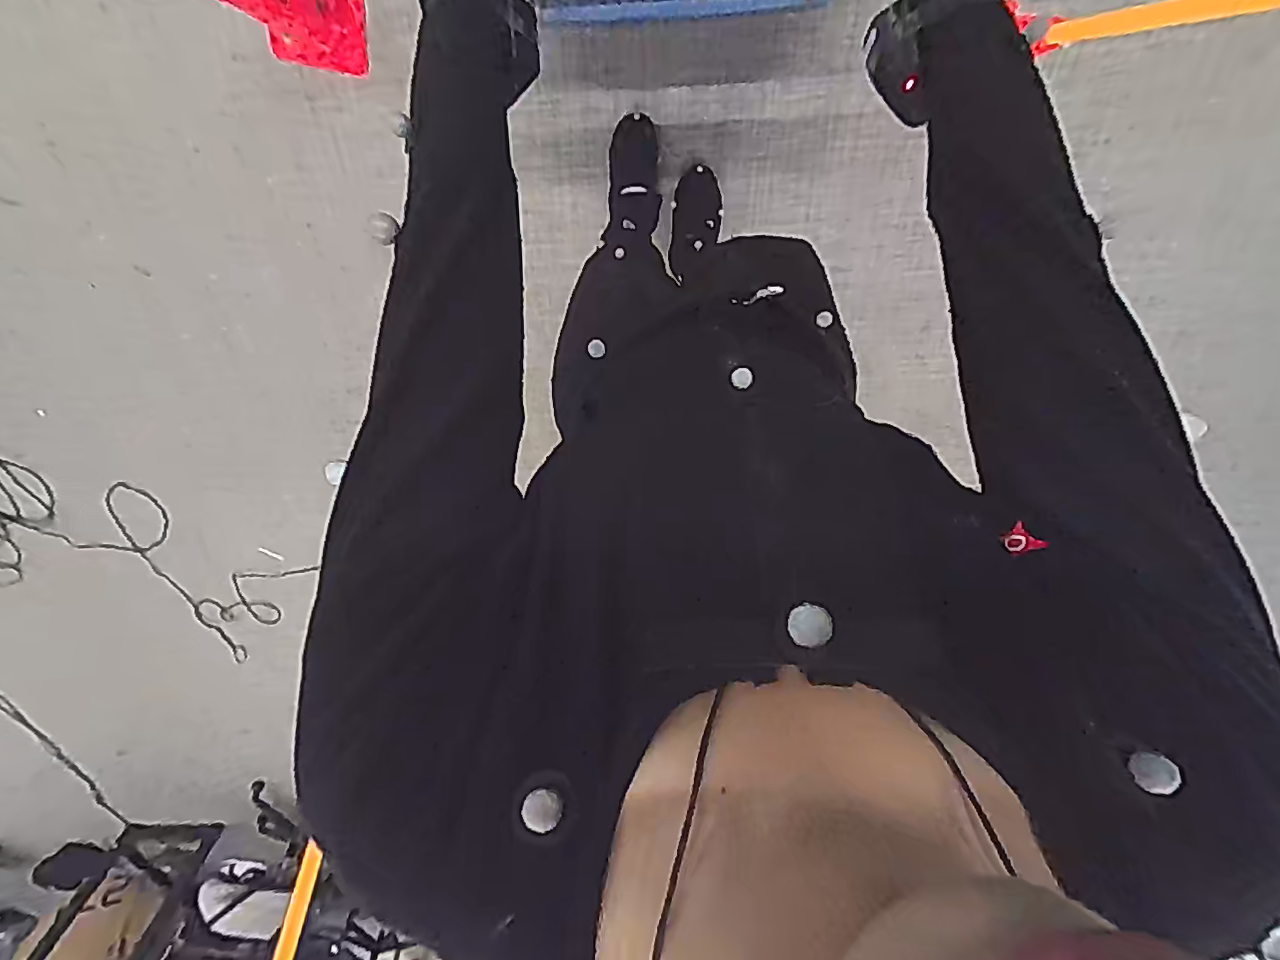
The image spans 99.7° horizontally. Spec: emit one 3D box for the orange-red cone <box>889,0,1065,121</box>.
[{"bbox_3d":[0.625,-0.764,0.955,0.198,0.360,0.199,9,124,-3],"label":"orange-red cone"}]
